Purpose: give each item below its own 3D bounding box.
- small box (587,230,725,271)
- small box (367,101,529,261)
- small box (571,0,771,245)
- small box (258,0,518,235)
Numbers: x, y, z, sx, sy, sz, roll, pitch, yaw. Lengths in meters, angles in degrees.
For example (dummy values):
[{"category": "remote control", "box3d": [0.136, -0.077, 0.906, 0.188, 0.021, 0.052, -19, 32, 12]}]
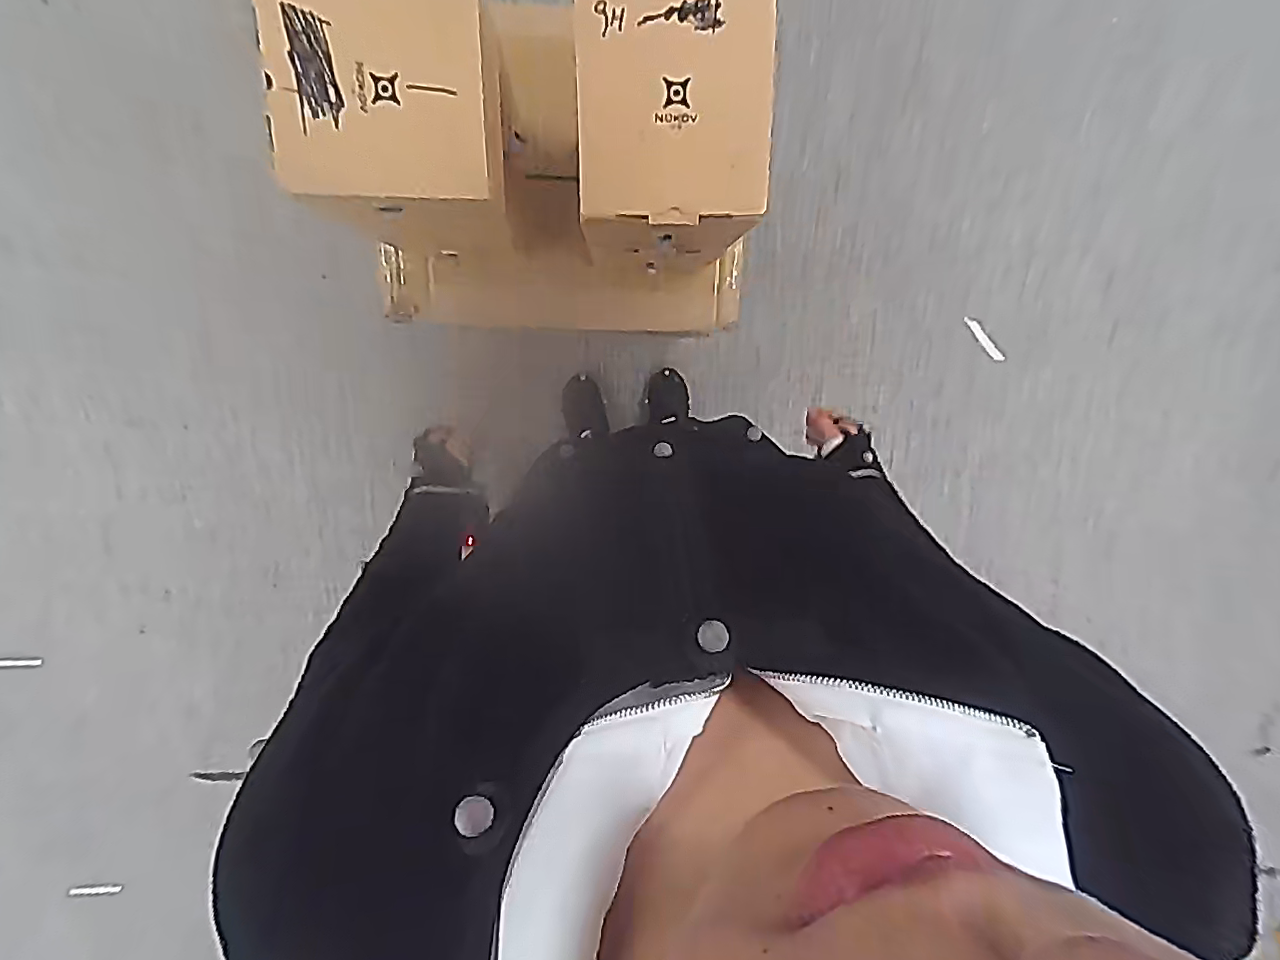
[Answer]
[{"category": "small box", "box3d": [0.018, -0.375, 0.695, 0.168, 0.176, 0.179, 0, 104, -2]}, {"category": "small box", "box3d": [-0.234, -0.383, 0.680, 0.168, 0.176, 0.179, 0, 105, -3]}, {"category": "small box", "box3d": [0.023, -0.337, 0.536, 0.168, 0.176, 0.179, -1, 104, -2]}, {"category": "small box", "box3d": [-0.221, -0.341, 0.521, 0.179, 0.176, 0.168, -1, 104, -4]}]
